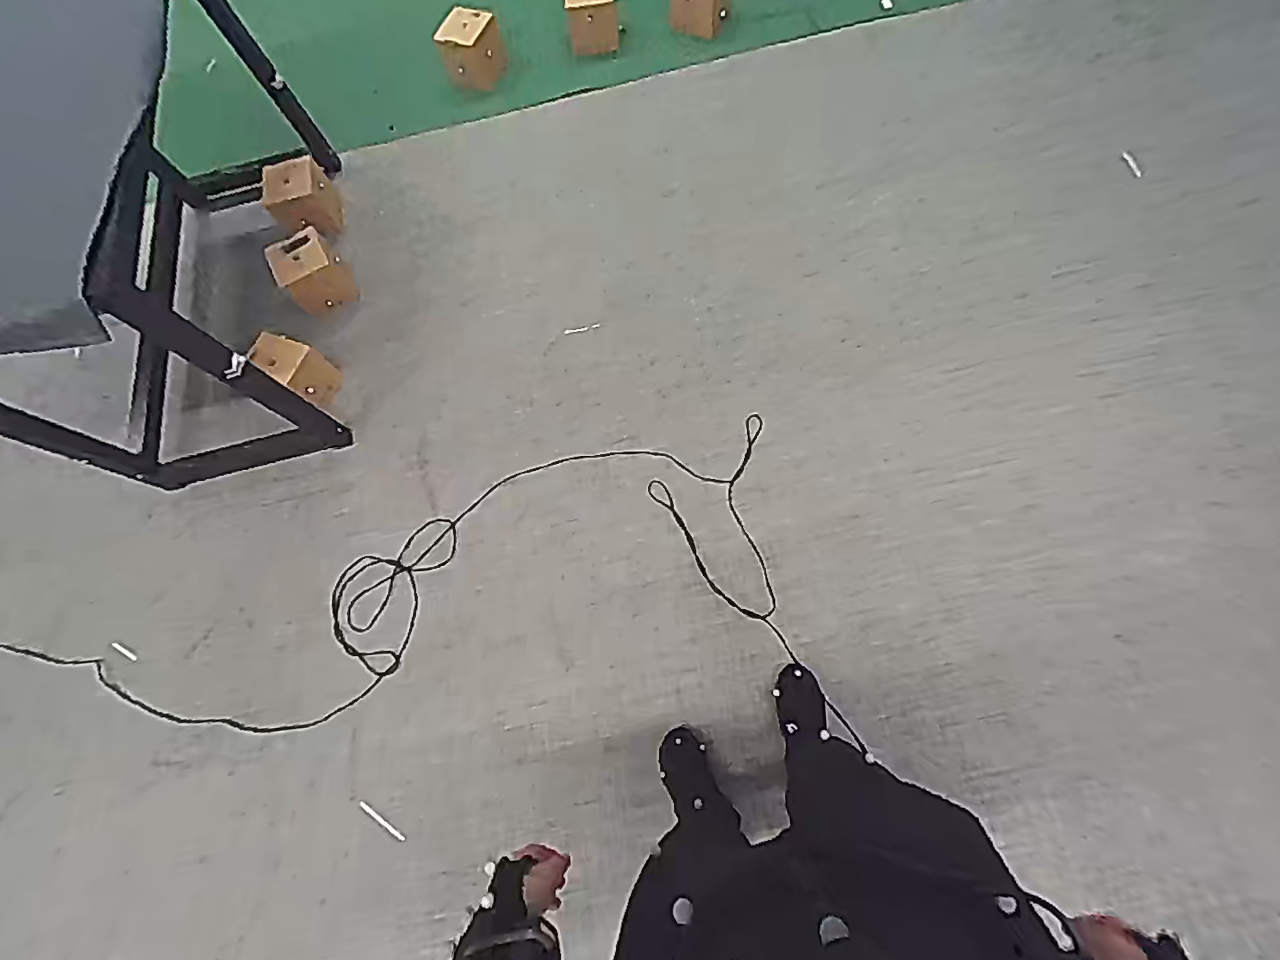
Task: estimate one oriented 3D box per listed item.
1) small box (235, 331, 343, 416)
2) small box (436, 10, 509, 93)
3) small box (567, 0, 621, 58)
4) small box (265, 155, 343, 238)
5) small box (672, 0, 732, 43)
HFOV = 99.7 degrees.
[{"bbox_3d":[-1.034,-0.310,1.612,0.179,0.176,0.168,19,74,12],"label":"small box"},{"bbox_3d":[-0.612,-1.582,2.003,0.168,0.176,0.179,20,75,12],"label":"small box"},{"bbox_3d":[-0.169,-1.708,2.004,0.179,0.176,0.168,-4,72,3],"label":"small box"},{"bbox_3d":[-1.135,-0.951,1.836,0.168,0.176,0.179,-14,70,0],"label":"small box"},{"bbox_3d":[0.227,-1.752,1.981,0.179,0.176,0.168,27,76,13],"label":"small box"}]
